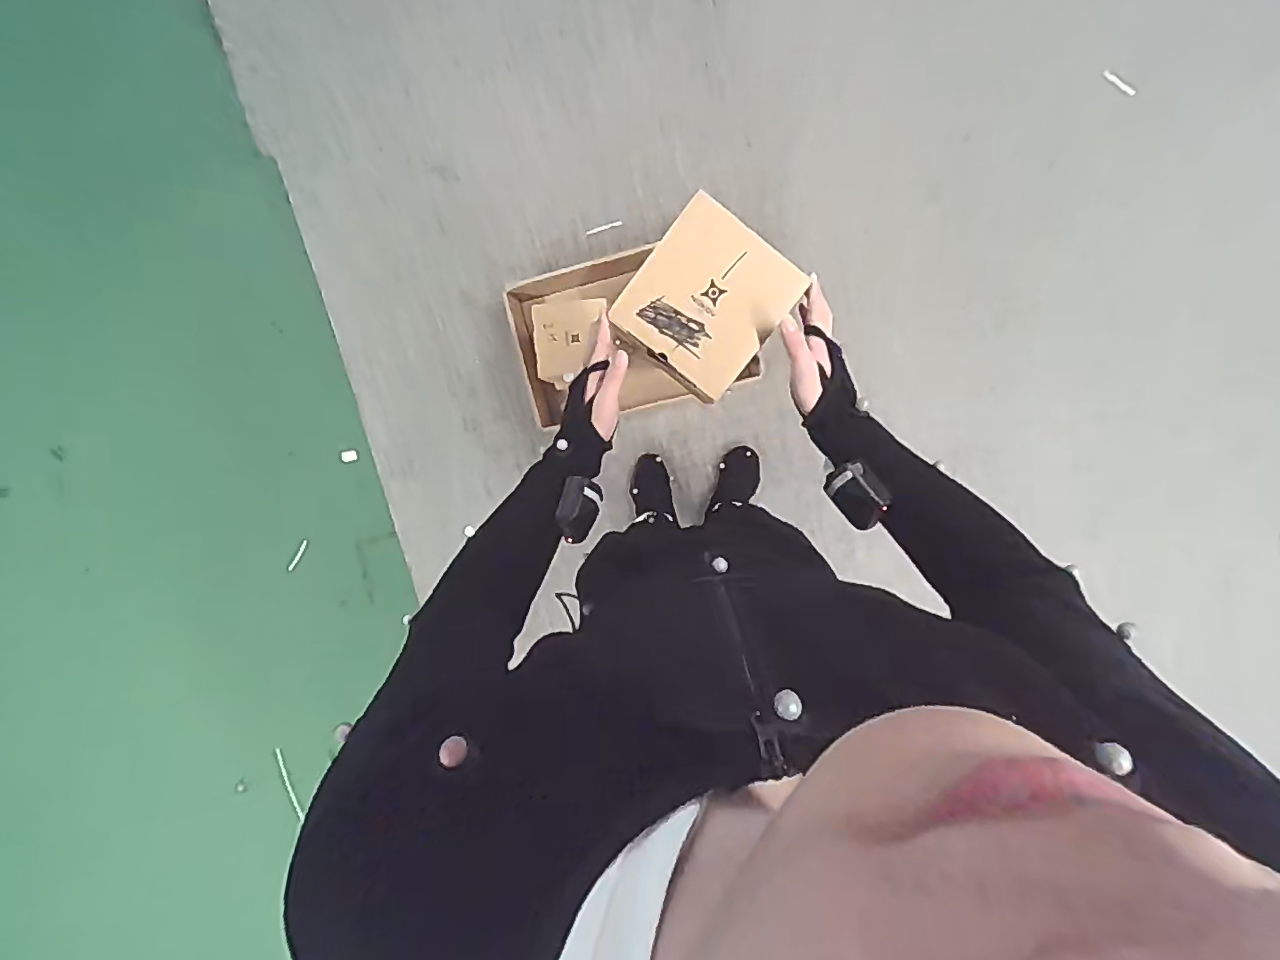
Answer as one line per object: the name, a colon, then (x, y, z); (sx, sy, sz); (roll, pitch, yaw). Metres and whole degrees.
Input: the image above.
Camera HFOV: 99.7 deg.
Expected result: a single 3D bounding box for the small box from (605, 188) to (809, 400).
small box: (0.080, -0.216, 0.687); (0.168, 0.176, 0.179); (38, 97, -3)
